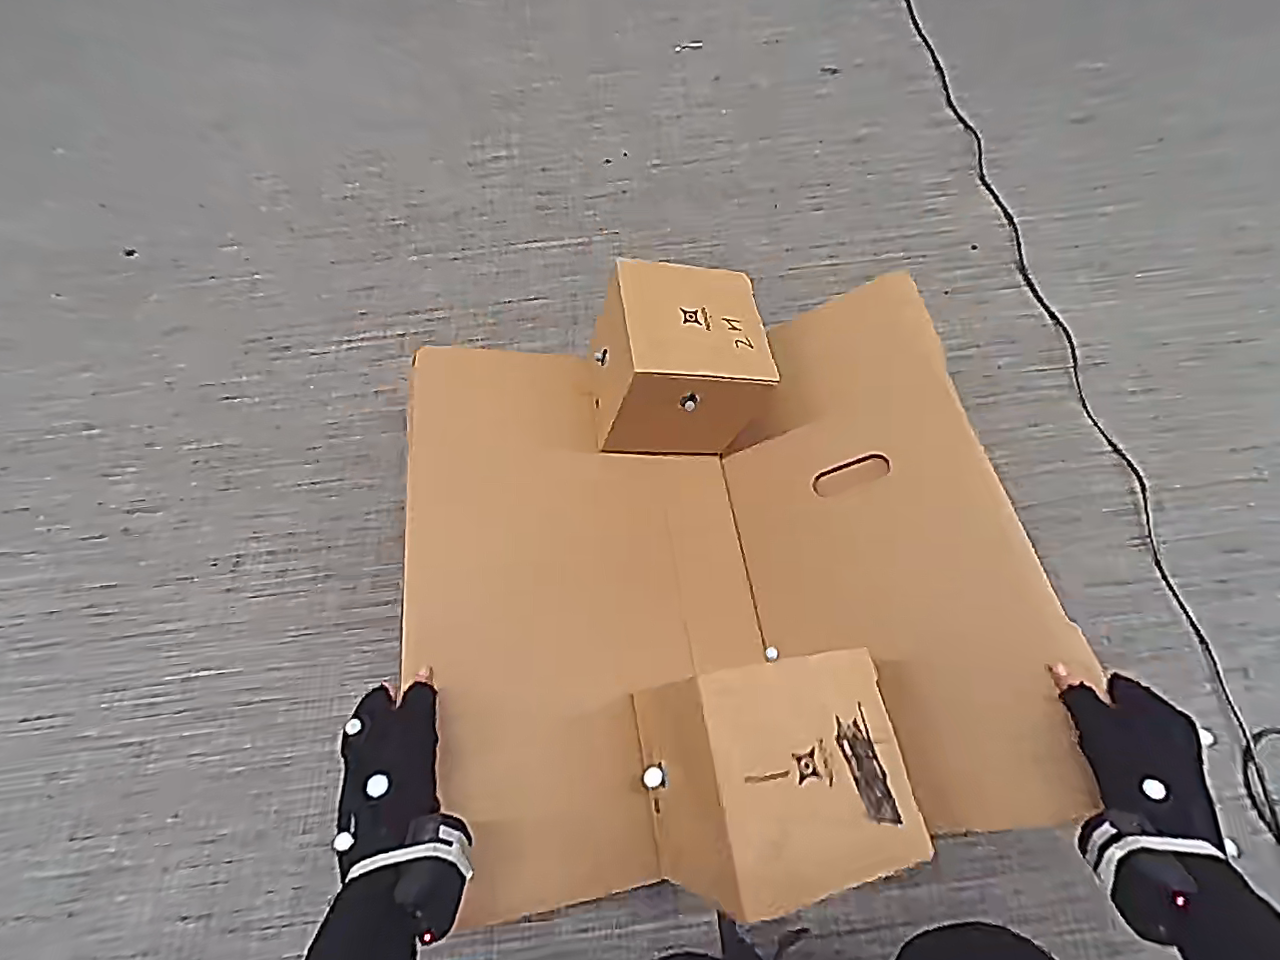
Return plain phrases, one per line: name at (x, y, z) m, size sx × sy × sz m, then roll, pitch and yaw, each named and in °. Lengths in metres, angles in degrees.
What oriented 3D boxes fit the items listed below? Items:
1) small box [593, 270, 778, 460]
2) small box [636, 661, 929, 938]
small box at (0.042, -0.134, 0.683) m, size 0.179 × 0.176 × 0.168 m, roll 0°, pitch 64°, yaw -18°
small box at (0.112, 0.269, 0.496) m, size 0.179 × 0.176 × 0.168 m, roll -2°, pitch 66°, yaw -19°
